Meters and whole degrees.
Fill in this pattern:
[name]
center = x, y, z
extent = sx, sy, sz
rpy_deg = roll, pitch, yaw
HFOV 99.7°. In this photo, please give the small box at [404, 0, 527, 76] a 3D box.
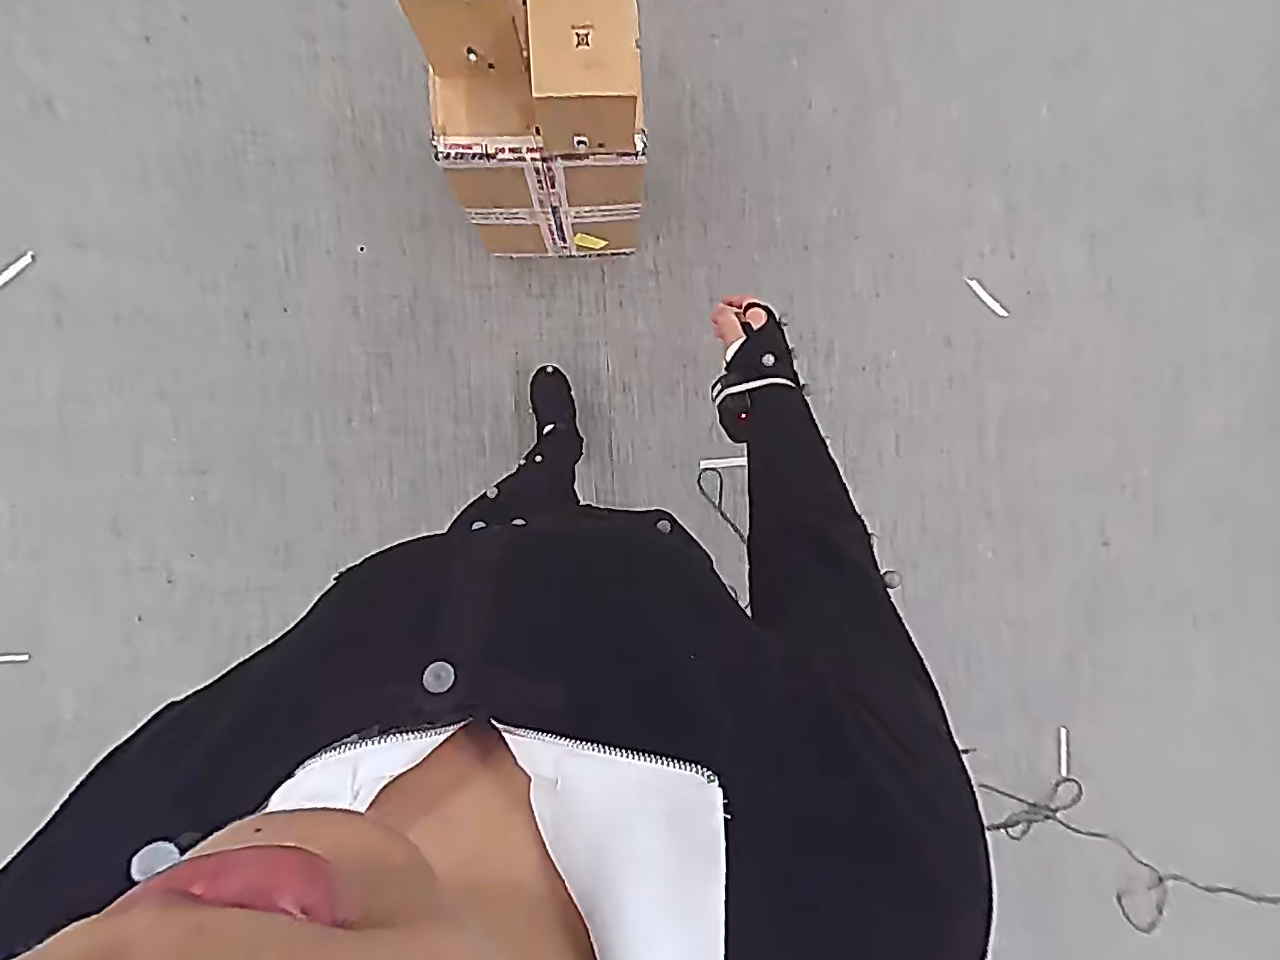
[small box]
center = -0.286, -0.815, 0.893
extent = 0.168, 0.176, 0.179
rpy_deg = -4, 93, -1
